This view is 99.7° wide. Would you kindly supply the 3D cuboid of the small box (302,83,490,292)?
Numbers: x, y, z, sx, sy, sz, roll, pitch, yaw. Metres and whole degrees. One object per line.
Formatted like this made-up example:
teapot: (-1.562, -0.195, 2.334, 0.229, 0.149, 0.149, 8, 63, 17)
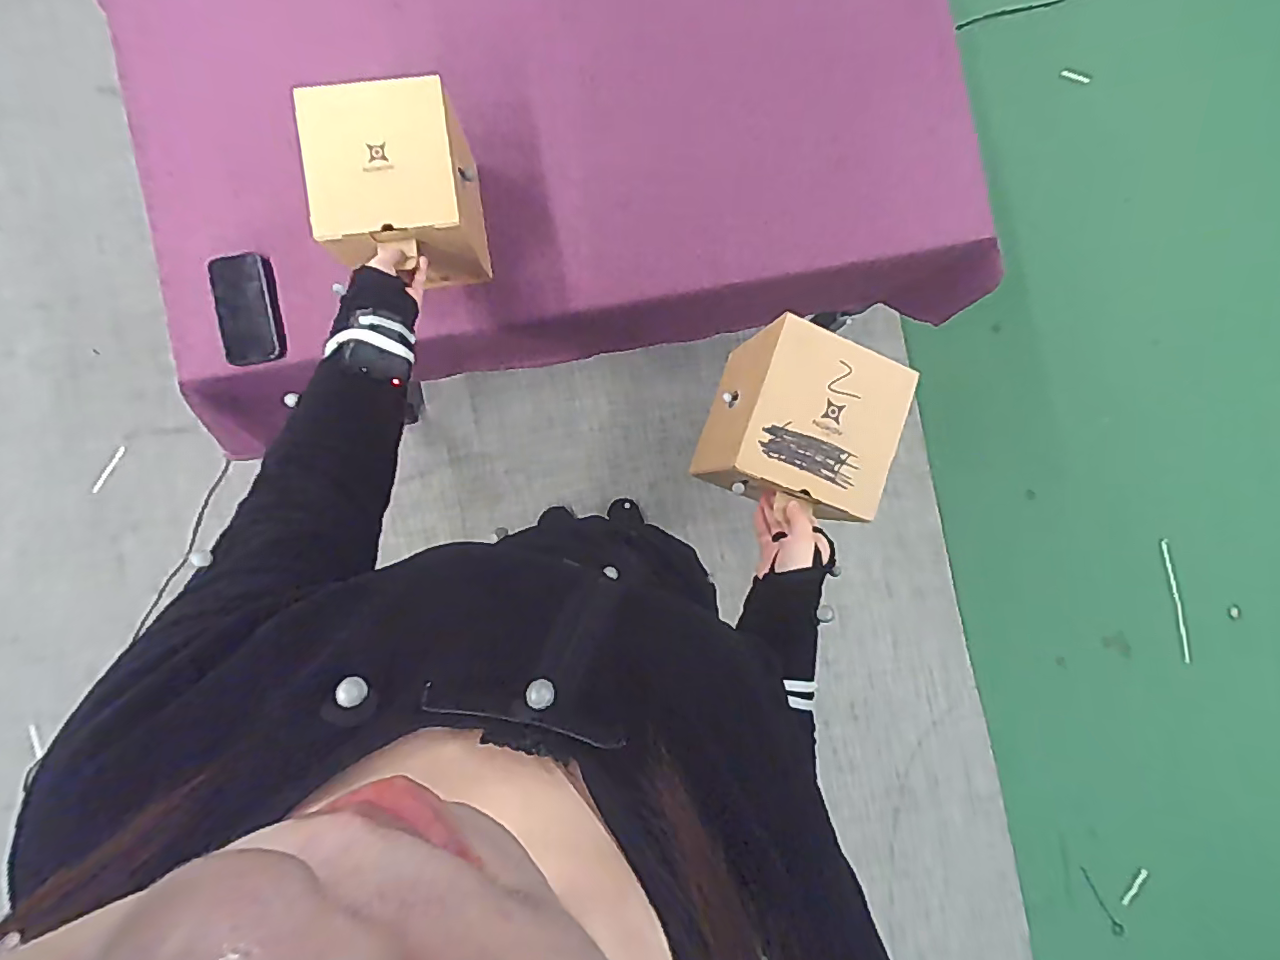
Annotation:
small box: (-0.301, -0.365, 0.701, 0.168, 0.176, 0.179, -8, 90, -4)
